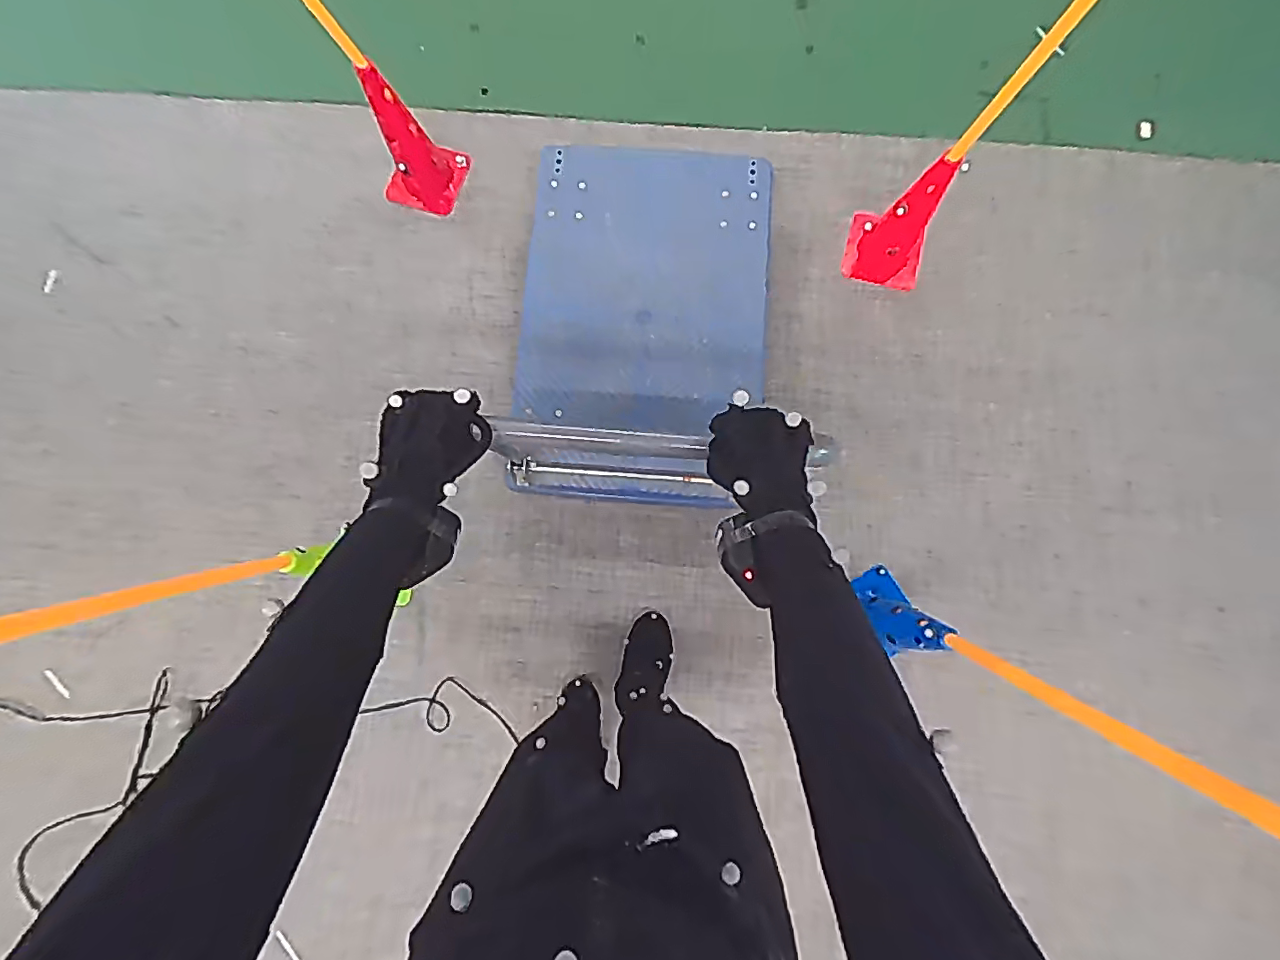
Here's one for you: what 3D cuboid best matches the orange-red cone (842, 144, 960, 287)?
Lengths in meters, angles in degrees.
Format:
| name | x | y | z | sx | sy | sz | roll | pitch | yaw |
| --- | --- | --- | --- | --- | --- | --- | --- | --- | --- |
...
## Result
| name | x | y | z | sx | sy | sz | roll | pitch | yaw |
| --- | --- | --- | --- | --- | --- | --- | --- | --- | --- |
| orange-red cone | 0.655 | -0.654 | 1.295 | 0.198 | 0.360 | 0.199 | 16 | 83 | 4 |
